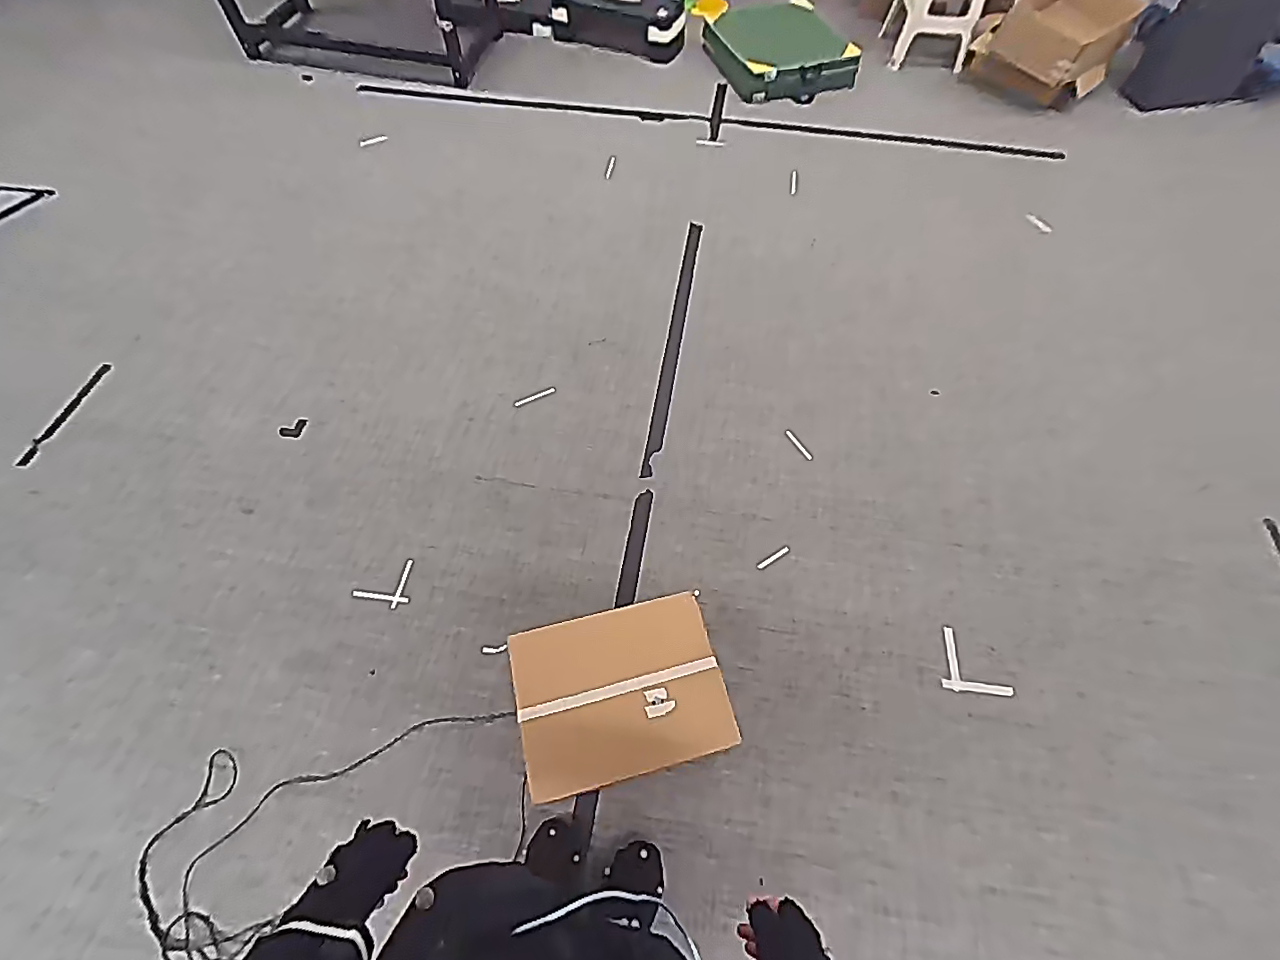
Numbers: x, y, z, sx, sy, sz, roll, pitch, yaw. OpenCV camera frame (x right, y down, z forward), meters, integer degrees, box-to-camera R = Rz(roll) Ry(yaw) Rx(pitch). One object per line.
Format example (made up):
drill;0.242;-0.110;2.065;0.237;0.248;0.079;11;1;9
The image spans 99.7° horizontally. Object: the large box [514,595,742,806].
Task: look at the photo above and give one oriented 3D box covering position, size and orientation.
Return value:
large box;-0.039;0.493;1.204;0.408;0.320;0.320;-11;63;-9
